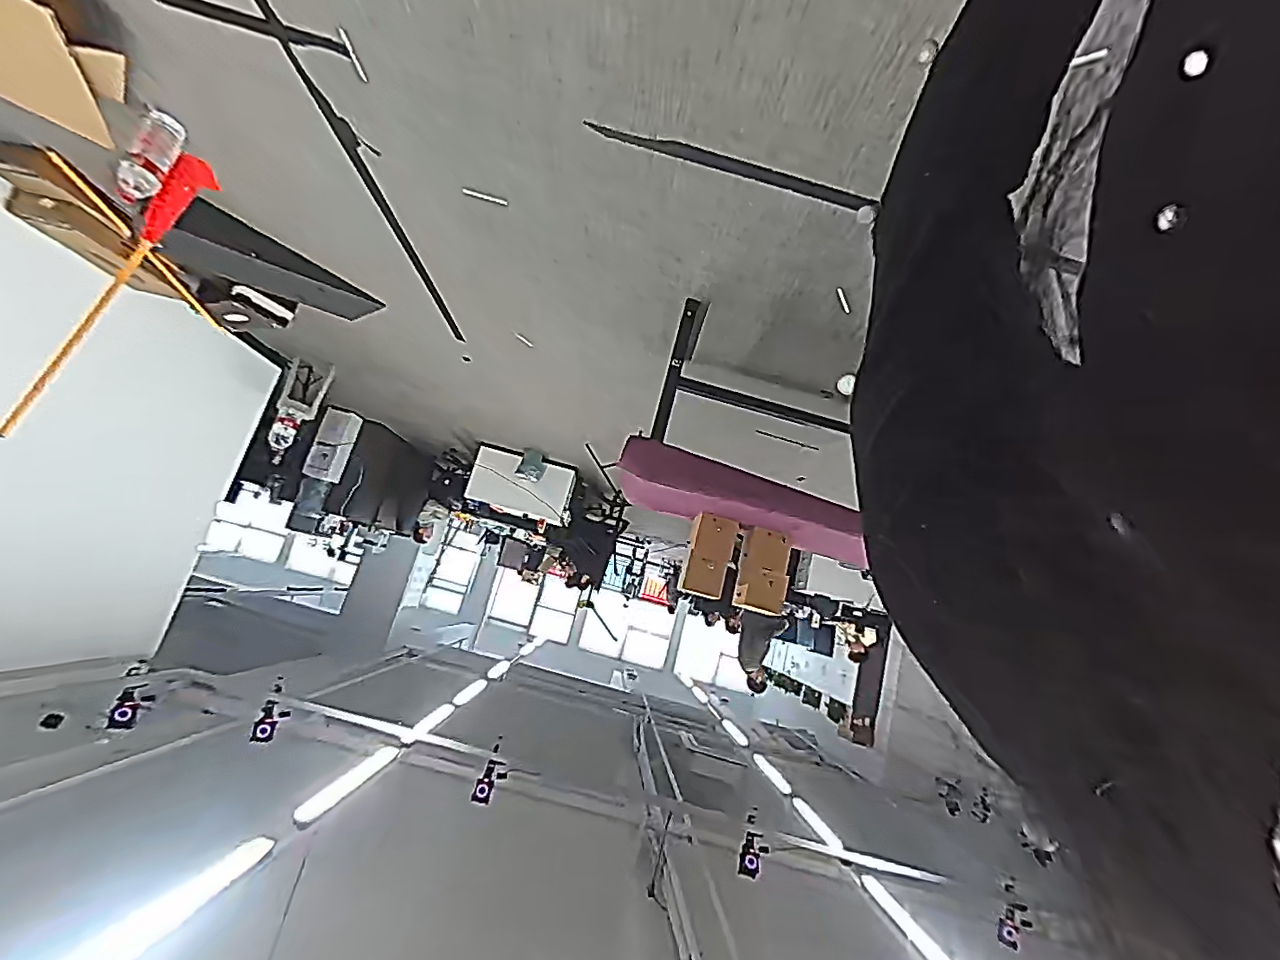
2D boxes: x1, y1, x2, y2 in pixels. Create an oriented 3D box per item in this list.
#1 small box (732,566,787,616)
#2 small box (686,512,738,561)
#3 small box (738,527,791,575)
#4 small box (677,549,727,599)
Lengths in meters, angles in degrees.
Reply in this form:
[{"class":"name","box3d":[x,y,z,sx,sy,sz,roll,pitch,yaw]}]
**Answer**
[{"class":"small box","box3d":[0.504,0.462,2.270,0.168,0.176,0.179,16,166,-3]},{"class":"small box","box3d":[0.309,0.247,2.315,0.168,0.176,0.179,15,167,-2]},{"class":"small box","box3d":[0.533,0.304,2.300,0.168,0.176,0.179,16,168,-1]},{"class":"small box","box3d":[0.261,0.399,2.284,0.168,0.176,0.179,14,166,1]}]
